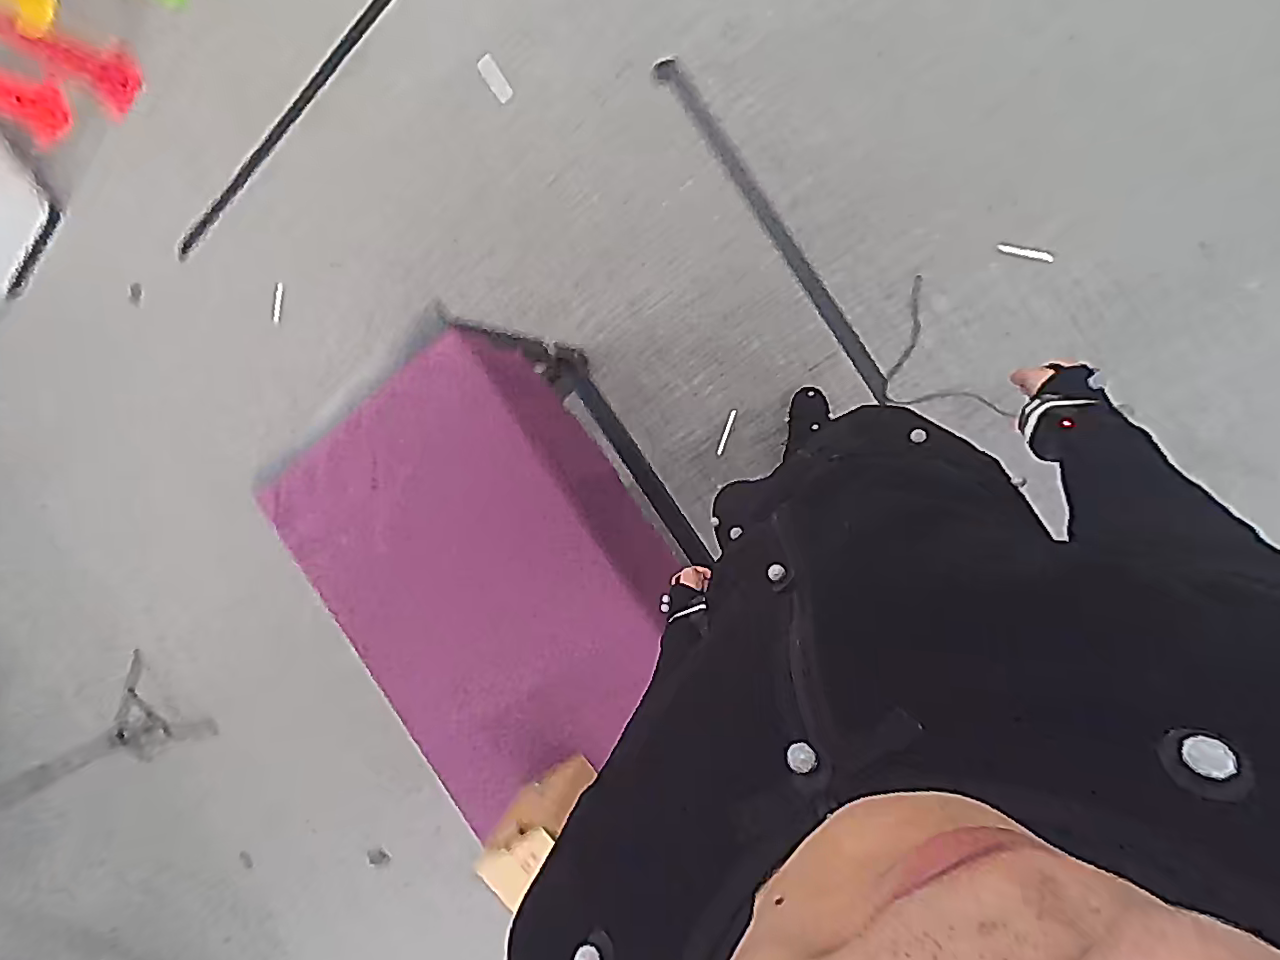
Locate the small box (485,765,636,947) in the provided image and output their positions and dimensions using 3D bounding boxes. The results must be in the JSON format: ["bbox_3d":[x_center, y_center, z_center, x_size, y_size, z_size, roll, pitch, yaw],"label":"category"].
[{"bbox_3d":[-0.131,0.659,0.965,0.168,0.176,0.179,-38,87,16],"label":"small box"}]
